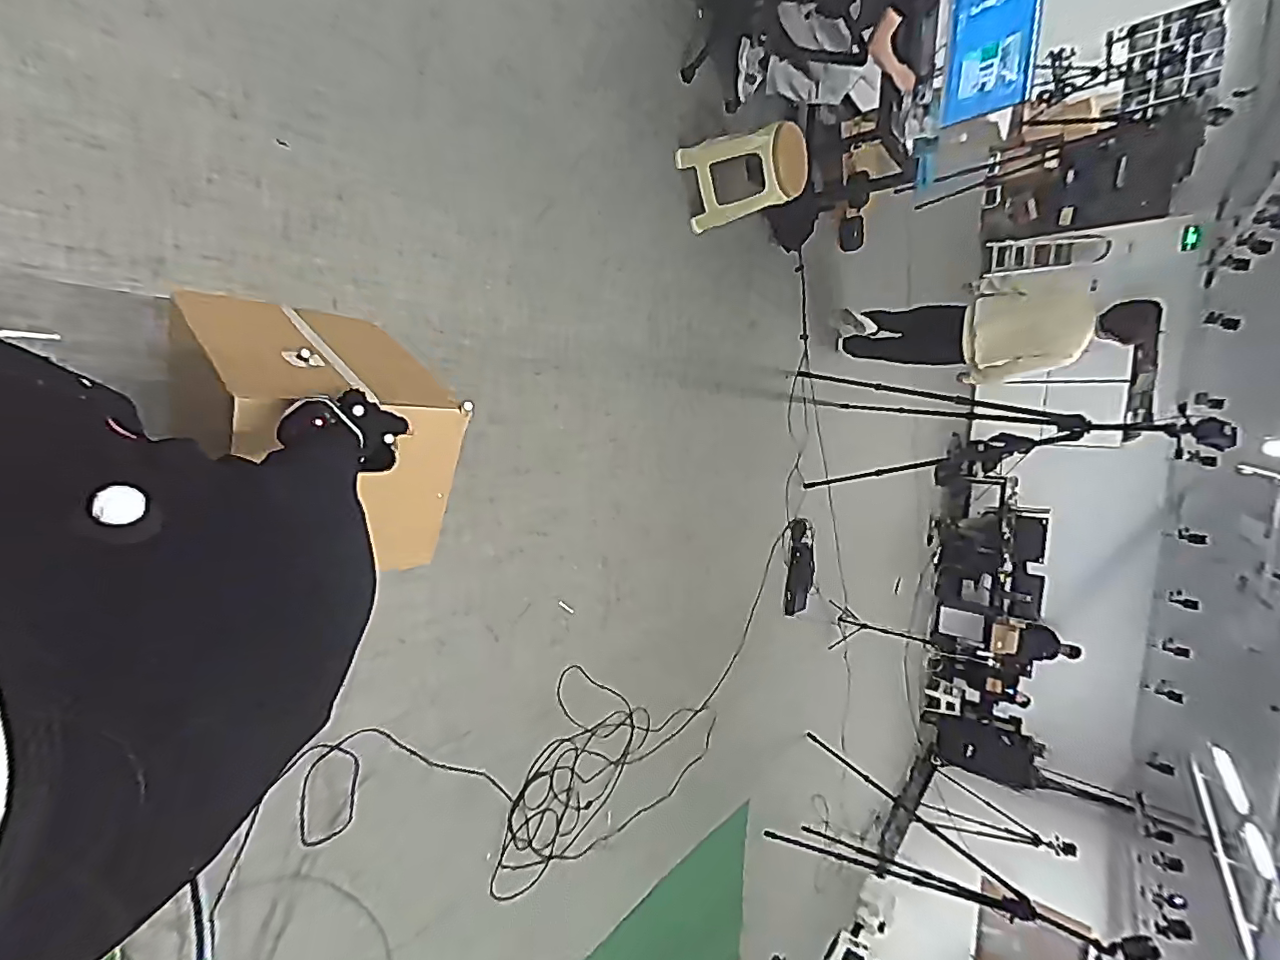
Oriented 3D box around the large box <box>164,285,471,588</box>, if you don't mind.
[{"bbox_3d":[-0.557,-0.084,0.912,0.320,0.408,0.320,-6,126,-49],"label":"large box"}]
